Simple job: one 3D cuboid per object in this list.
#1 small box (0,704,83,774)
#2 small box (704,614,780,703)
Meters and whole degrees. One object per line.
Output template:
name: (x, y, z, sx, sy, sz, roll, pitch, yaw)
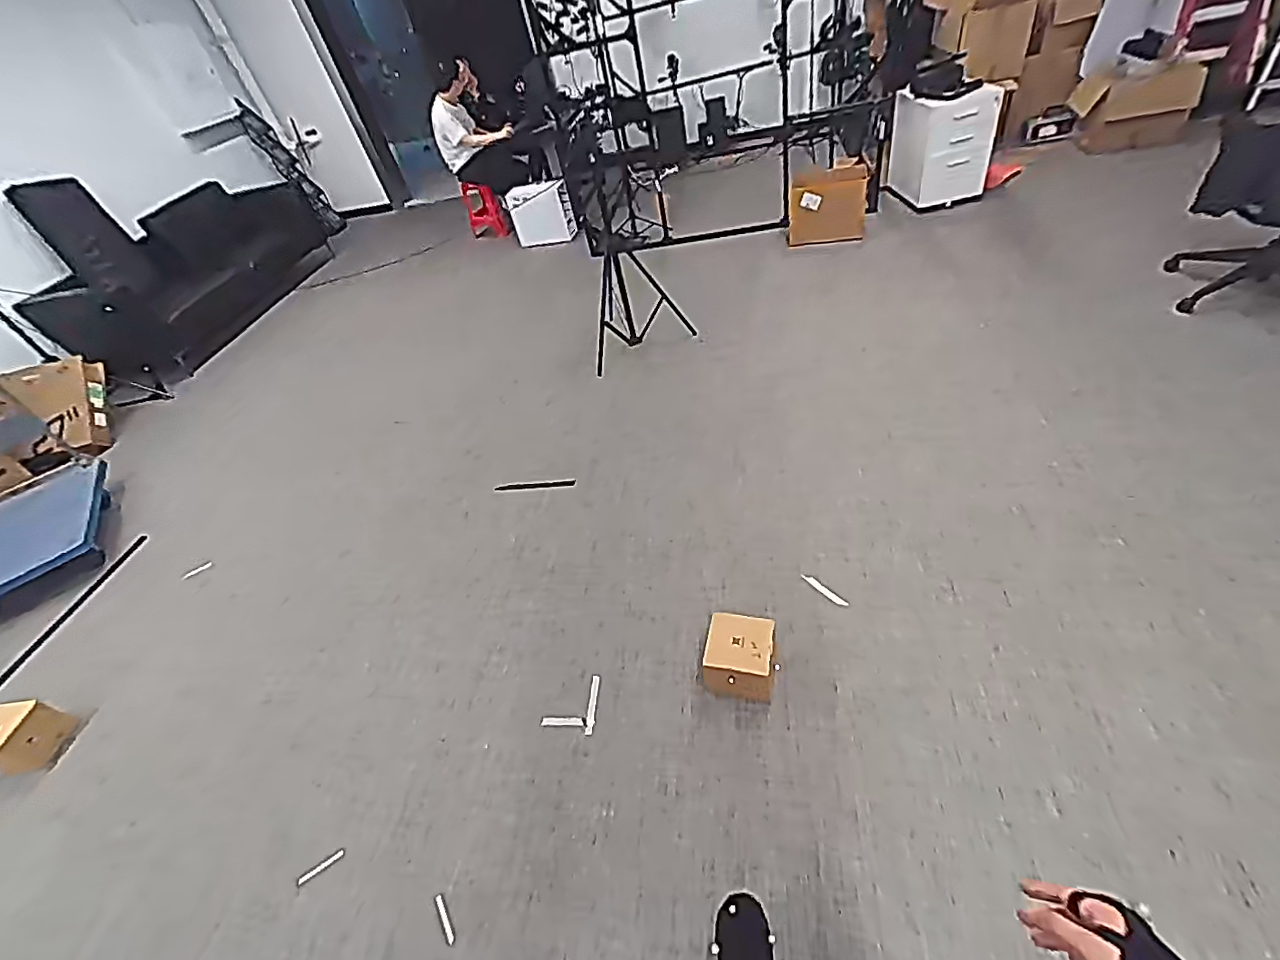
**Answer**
small box: (-2.057, 0.871, 1.813, 0.179, 0.176, 0.168, -9, 43, 8)
small box: (0.289, 0.498, 1.505, 0.179, 0.176, 0.168, 4, 46, 20)
